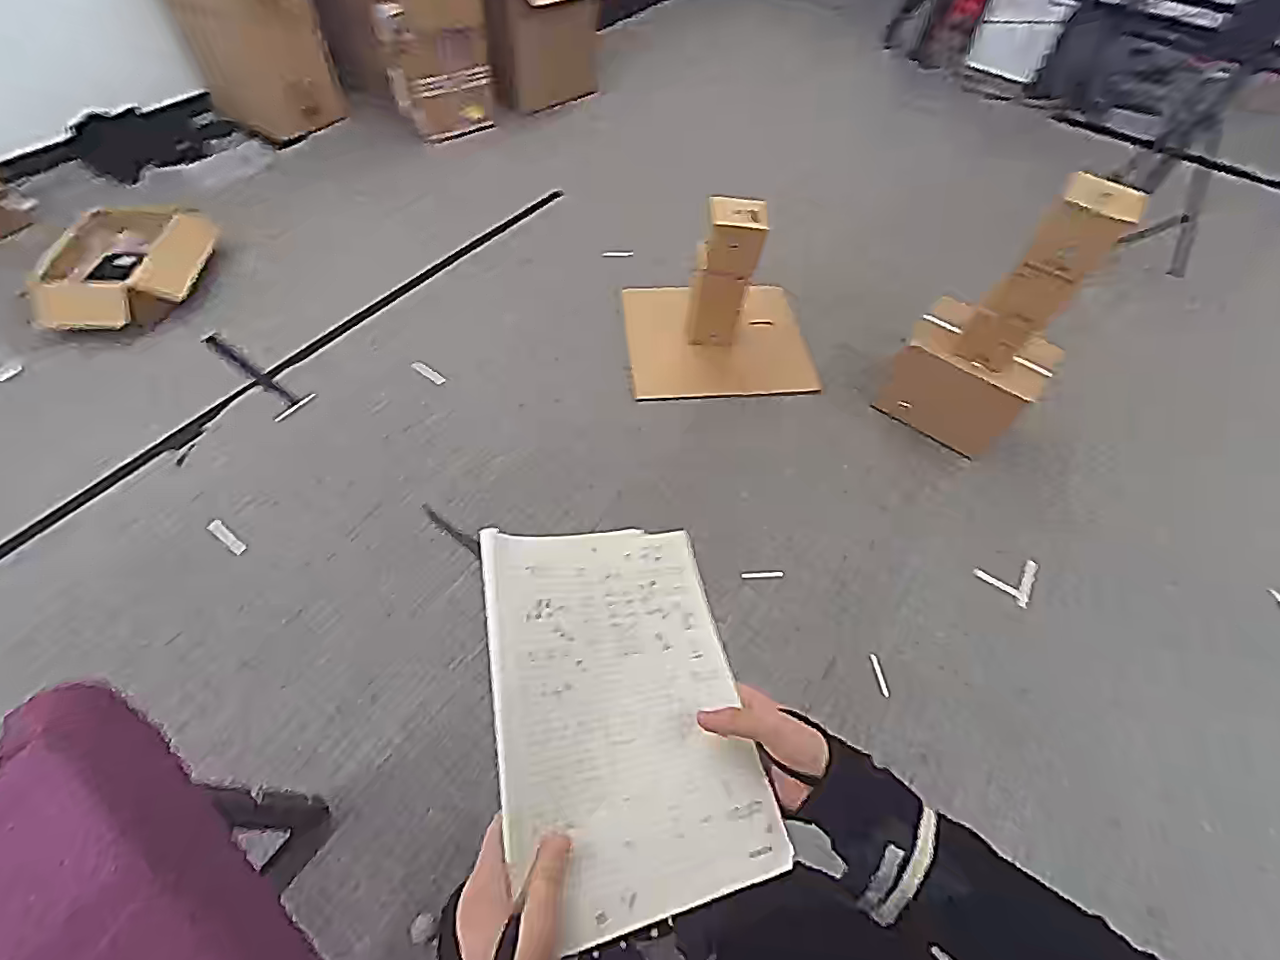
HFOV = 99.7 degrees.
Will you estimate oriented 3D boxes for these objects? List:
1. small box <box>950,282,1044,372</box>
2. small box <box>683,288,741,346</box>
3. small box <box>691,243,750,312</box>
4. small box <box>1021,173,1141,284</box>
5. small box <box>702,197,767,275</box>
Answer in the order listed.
[{"bbox_3d":[1.087,-0.463,1.656,0.168,0.176,0.179,30,59,14],"label":"small box"},{"bbox_3d":[0.272,-0.632,2.068,0.179,0.176,0.168,1,56,-7],"label":"small box"},{"bbox_3d":[0.280,-0.722,1.932,0.179,0.176,0.168,2,56,-5],"label":"small box"},{"bbox_3d":[1.116,-0.639,1.379,0.168,0.176,0.179,31,60,16],"label":"small box"},{"bbox_3d":[0.306,-0.802,1.790,0.179,0.176,0.168,4,56,-3],"label":"small box"}]
